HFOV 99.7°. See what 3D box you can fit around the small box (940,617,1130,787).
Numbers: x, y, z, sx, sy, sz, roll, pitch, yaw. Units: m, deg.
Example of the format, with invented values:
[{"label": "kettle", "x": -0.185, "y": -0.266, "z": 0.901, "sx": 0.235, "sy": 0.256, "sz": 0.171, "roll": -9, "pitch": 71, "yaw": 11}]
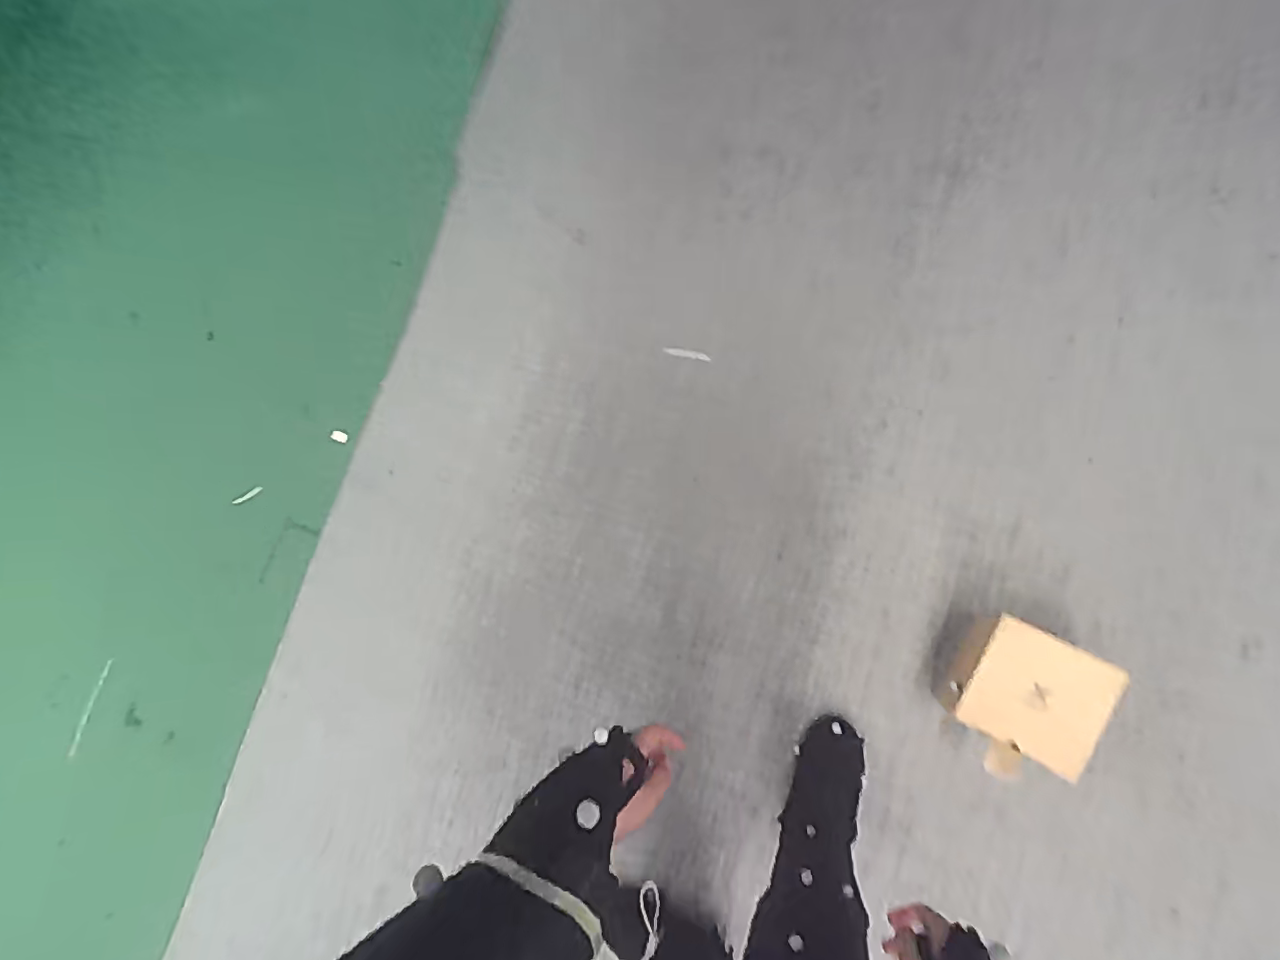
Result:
[{"label": "small box", "x": 0.601, "y": 0.331, "z": 0.852, "sx": 0.168, "sy": 0.176, "sz": 0.179, "roll": 27, "pitch": 88, "yaw": 22}]
